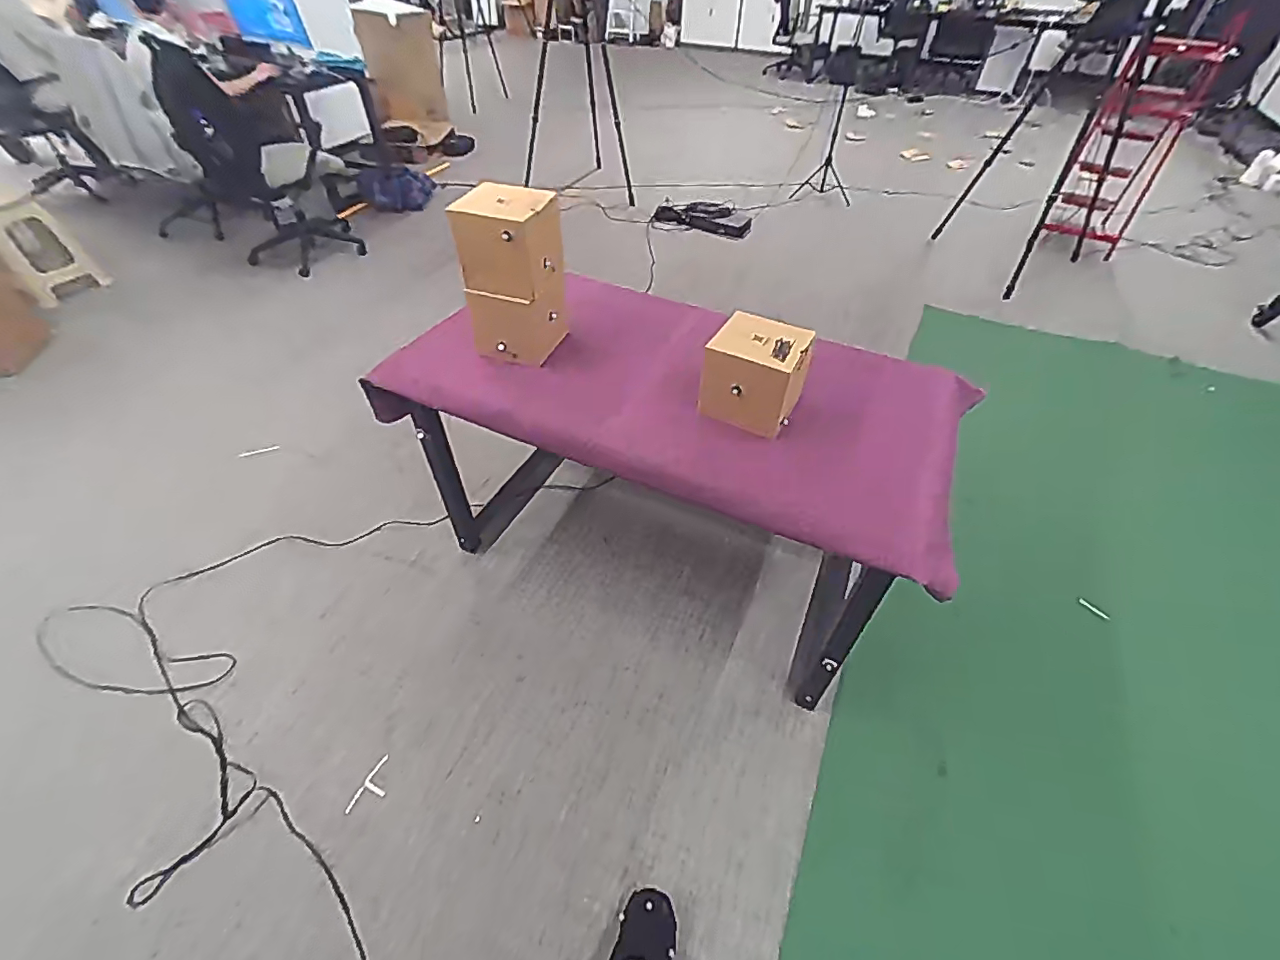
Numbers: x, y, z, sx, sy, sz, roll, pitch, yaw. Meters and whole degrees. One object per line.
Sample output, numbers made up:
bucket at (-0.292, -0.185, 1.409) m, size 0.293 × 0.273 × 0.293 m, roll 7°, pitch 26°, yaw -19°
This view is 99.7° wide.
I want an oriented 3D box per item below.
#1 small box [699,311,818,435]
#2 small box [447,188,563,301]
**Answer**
small box at (0.239, -0.218, 1.118) m, size 0.179 × 0.176 × 0.168 m, roll 25°, pitch 49°, yaw 22°
small box at (-0.280, -0.506, 1.163) m, size 0.179 × 0.176 × 0.168 m, roll 14°, pitch 48°, yaw 11°
